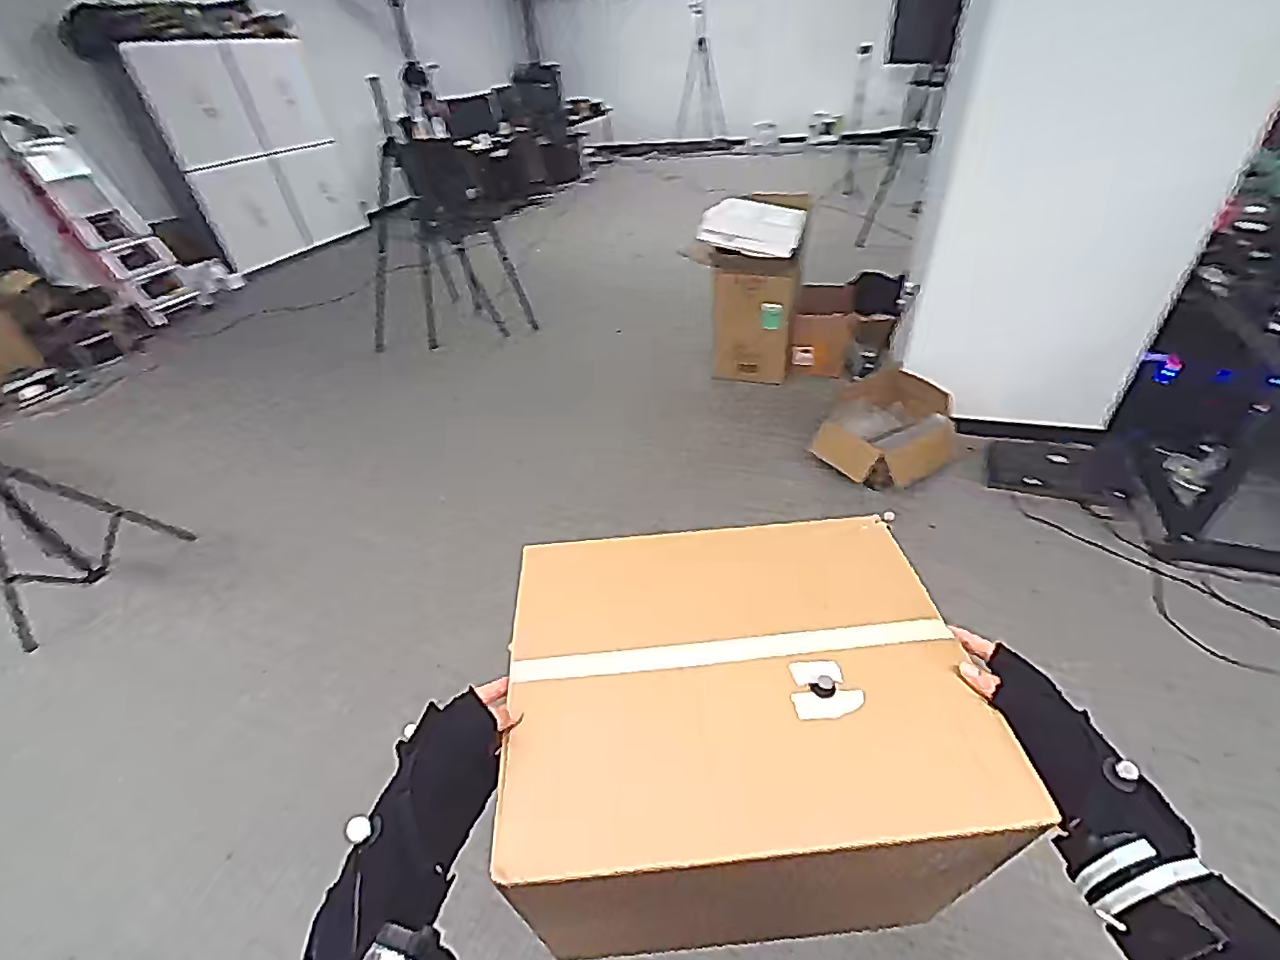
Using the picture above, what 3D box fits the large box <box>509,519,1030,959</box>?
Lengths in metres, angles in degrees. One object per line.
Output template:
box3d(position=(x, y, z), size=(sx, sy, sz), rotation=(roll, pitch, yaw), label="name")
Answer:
box3d(position=(0.089, 0.277, 0.603), size=(0.408, 0.320, 0.320), rotation=(-6, 41, -3), label="large box")
